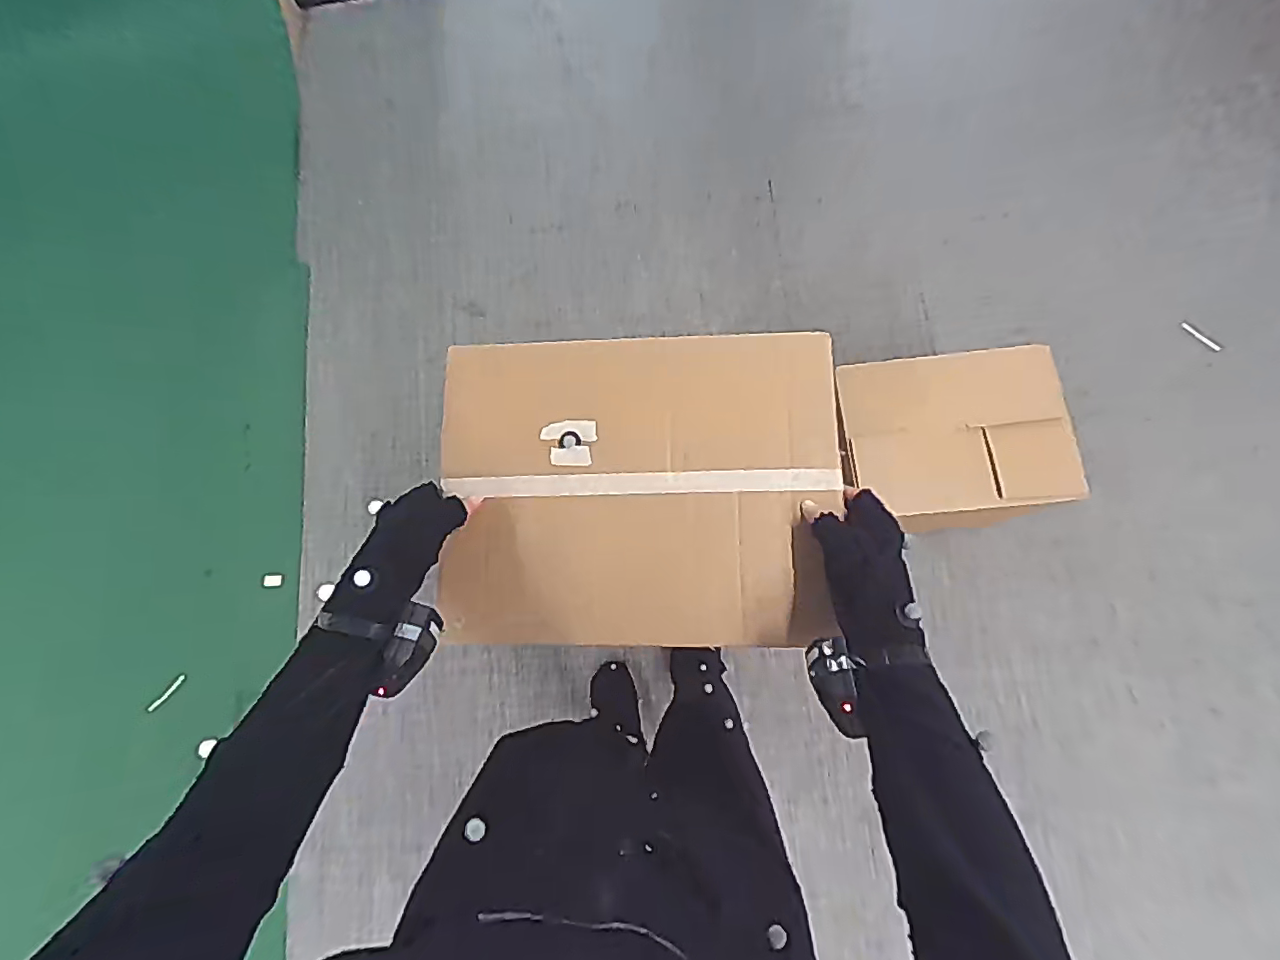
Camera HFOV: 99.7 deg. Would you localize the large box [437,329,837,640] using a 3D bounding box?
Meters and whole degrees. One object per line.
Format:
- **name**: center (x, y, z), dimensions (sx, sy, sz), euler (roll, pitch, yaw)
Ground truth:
- **large box**: center (0.003, 0.024, 0.698), dimensions (0.408, 0.320, 0.320), euler (-2, 80, 6)
